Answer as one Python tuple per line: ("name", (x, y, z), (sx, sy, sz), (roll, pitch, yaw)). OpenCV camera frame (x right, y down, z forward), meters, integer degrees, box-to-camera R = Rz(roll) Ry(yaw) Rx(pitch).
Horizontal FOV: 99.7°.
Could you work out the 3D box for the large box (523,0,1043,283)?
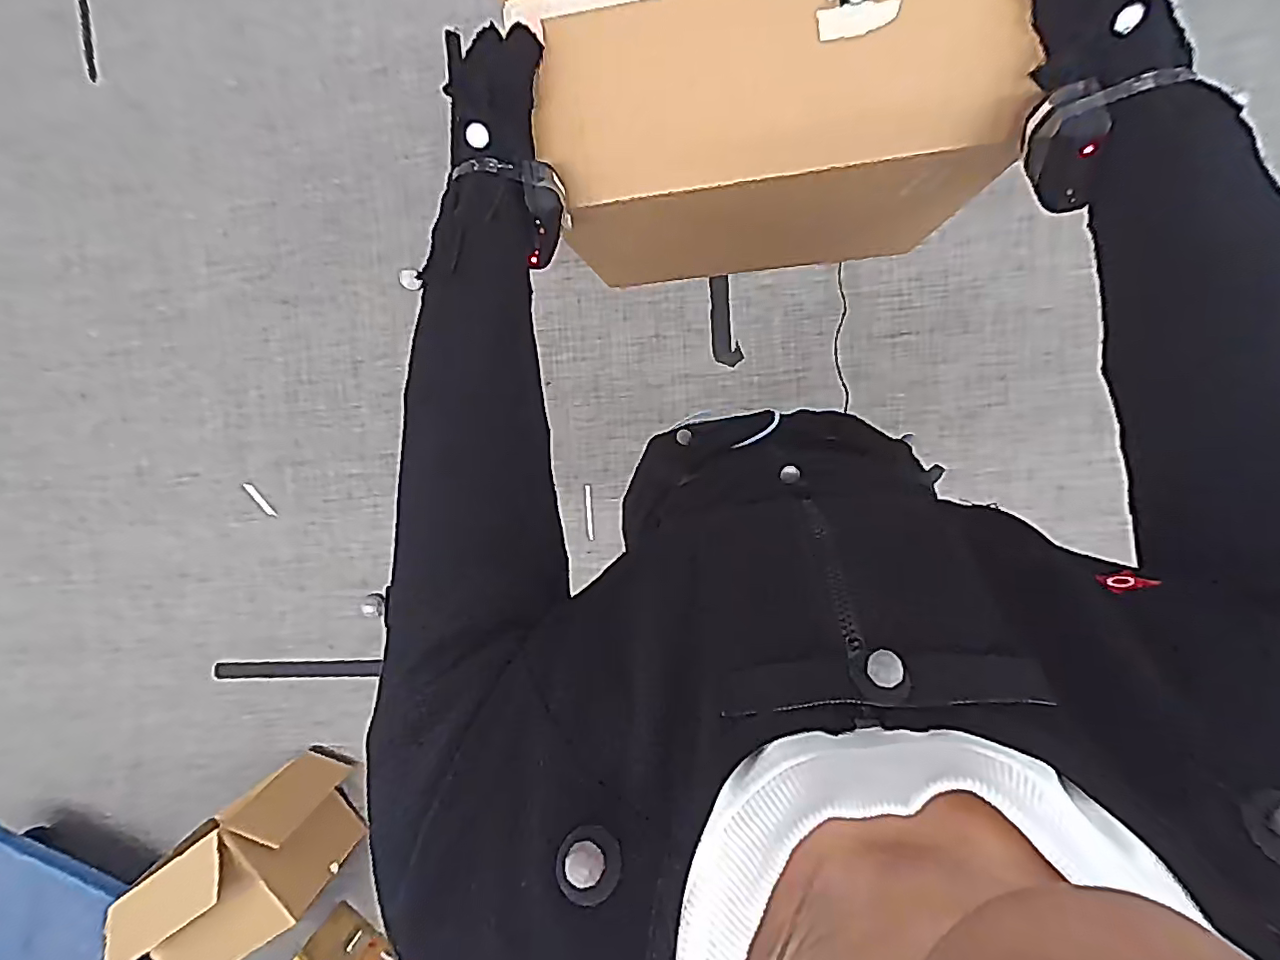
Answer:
("large box", (0.116, -0.424, 0.571), (0.408, 0.320, 0.320), (-4, 97, 8))
